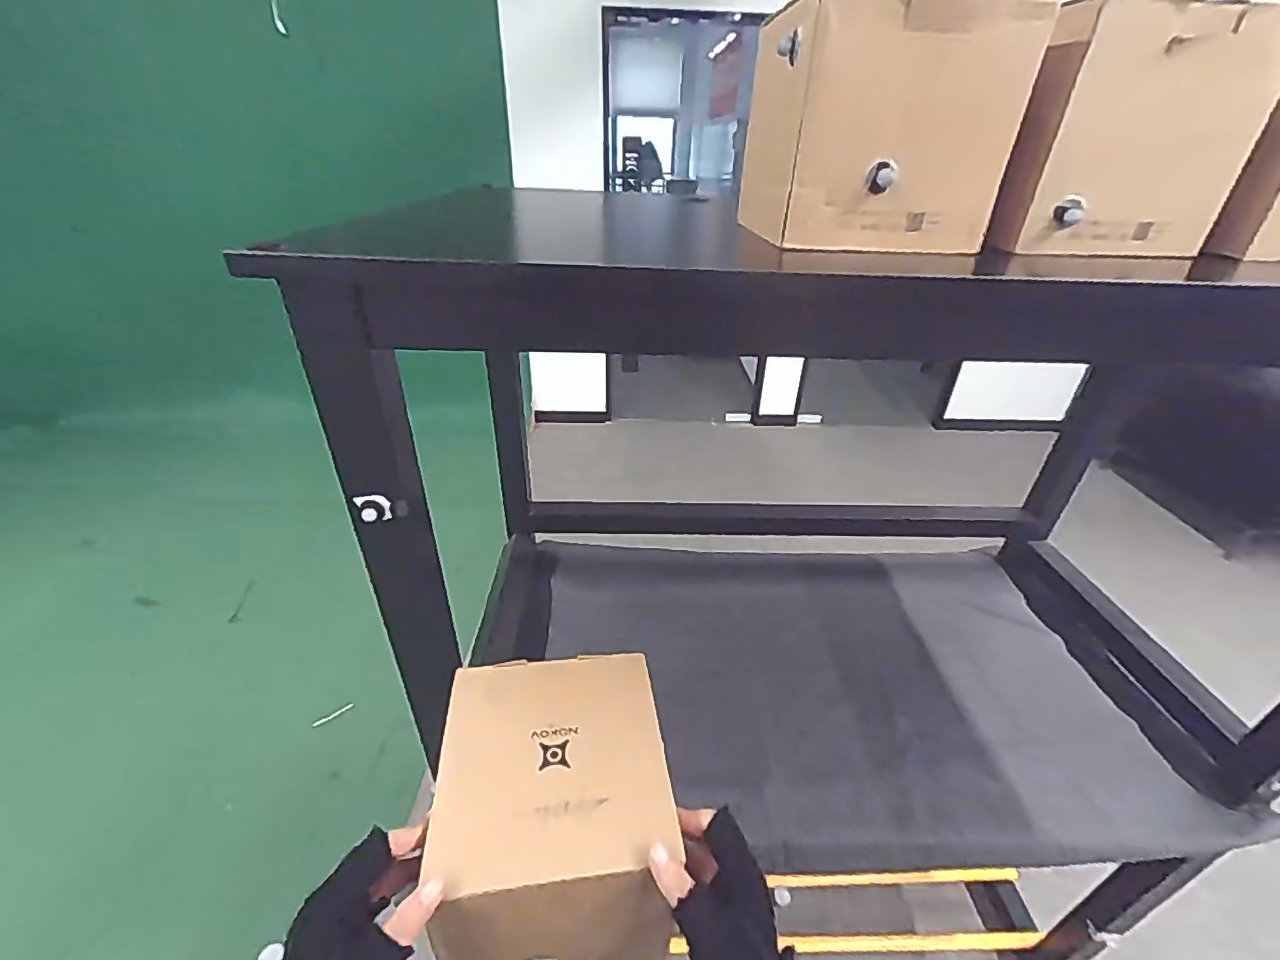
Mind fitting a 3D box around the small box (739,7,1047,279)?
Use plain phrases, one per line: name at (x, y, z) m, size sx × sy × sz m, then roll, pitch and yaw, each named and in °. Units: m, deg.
small box at (0.192, -0.286, 0.479) m, size 0.168 × 0.176 × 0.179 m, roll 0°, pitch 32°, yaw -3°
